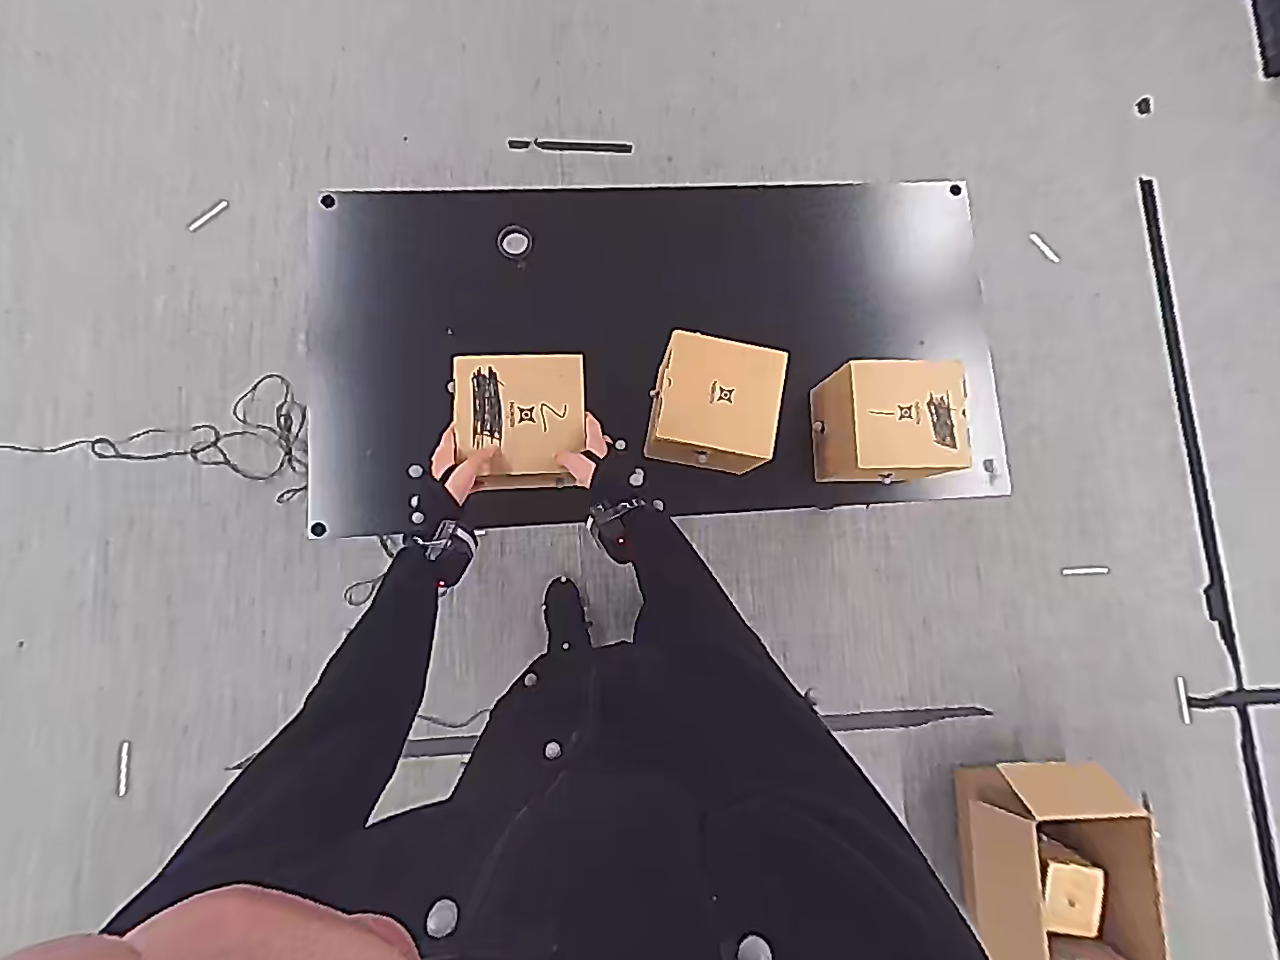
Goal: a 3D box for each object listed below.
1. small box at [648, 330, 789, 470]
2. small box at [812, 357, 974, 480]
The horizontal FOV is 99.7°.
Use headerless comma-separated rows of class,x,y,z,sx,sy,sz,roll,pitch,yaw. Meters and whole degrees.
small box,0.115,-0.115,0.857,0.179,0.176,0.168,10,82,-2
small box,0.394,-0.091,0.868,0.179,0.176,0.168,-1,83,-3
